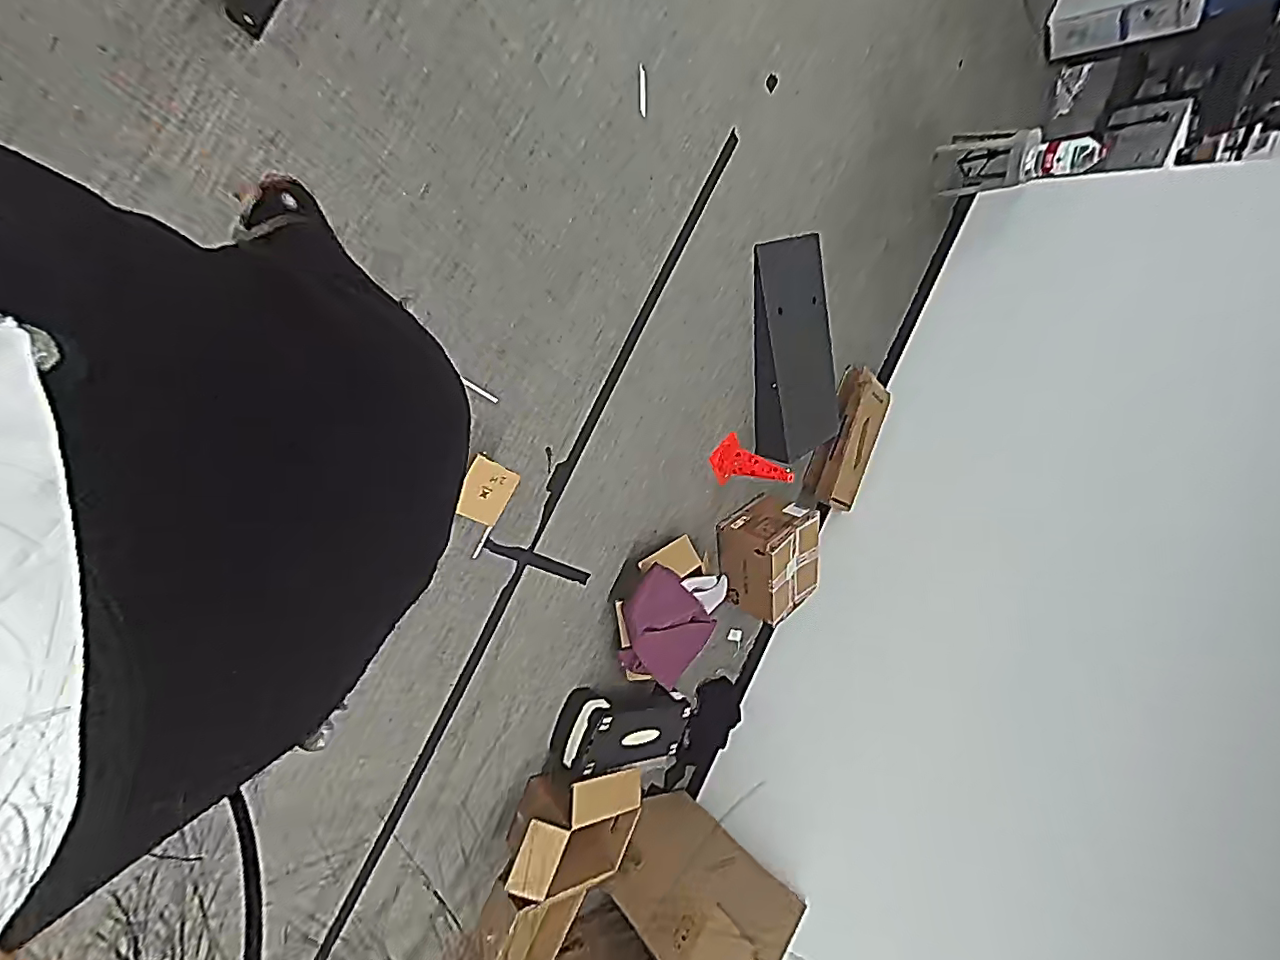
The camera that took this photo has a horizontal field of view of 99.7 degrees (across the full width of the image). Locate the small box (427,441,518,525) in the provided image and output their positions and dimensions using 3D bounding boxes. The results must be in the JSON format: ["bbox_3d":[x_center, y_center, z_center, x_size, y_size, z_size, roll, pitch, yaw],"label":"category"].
[{"bbox_3d":[-0.500,0.006,1.597,0.168,0.176,0.179,33,82,-46],"label":"small box"}]
